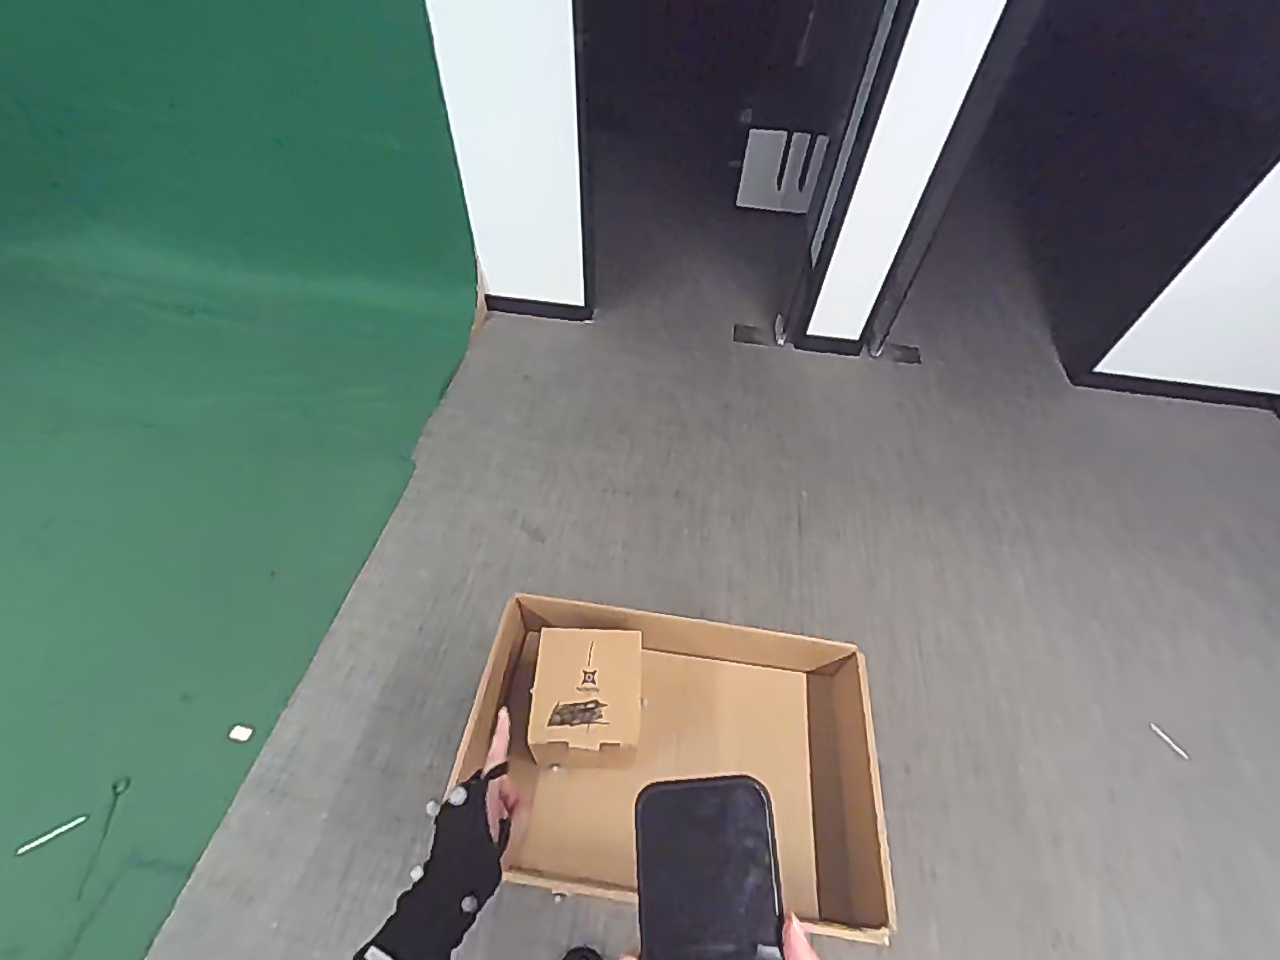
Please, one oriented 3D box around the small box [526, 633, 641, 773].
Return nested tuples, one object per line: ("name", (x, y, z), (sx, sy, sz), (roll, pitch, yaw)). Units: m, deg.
("small box", (-0.084, 0.369, 0.887), (0.168, 0.176, 0.179), (2, 50, -2))
